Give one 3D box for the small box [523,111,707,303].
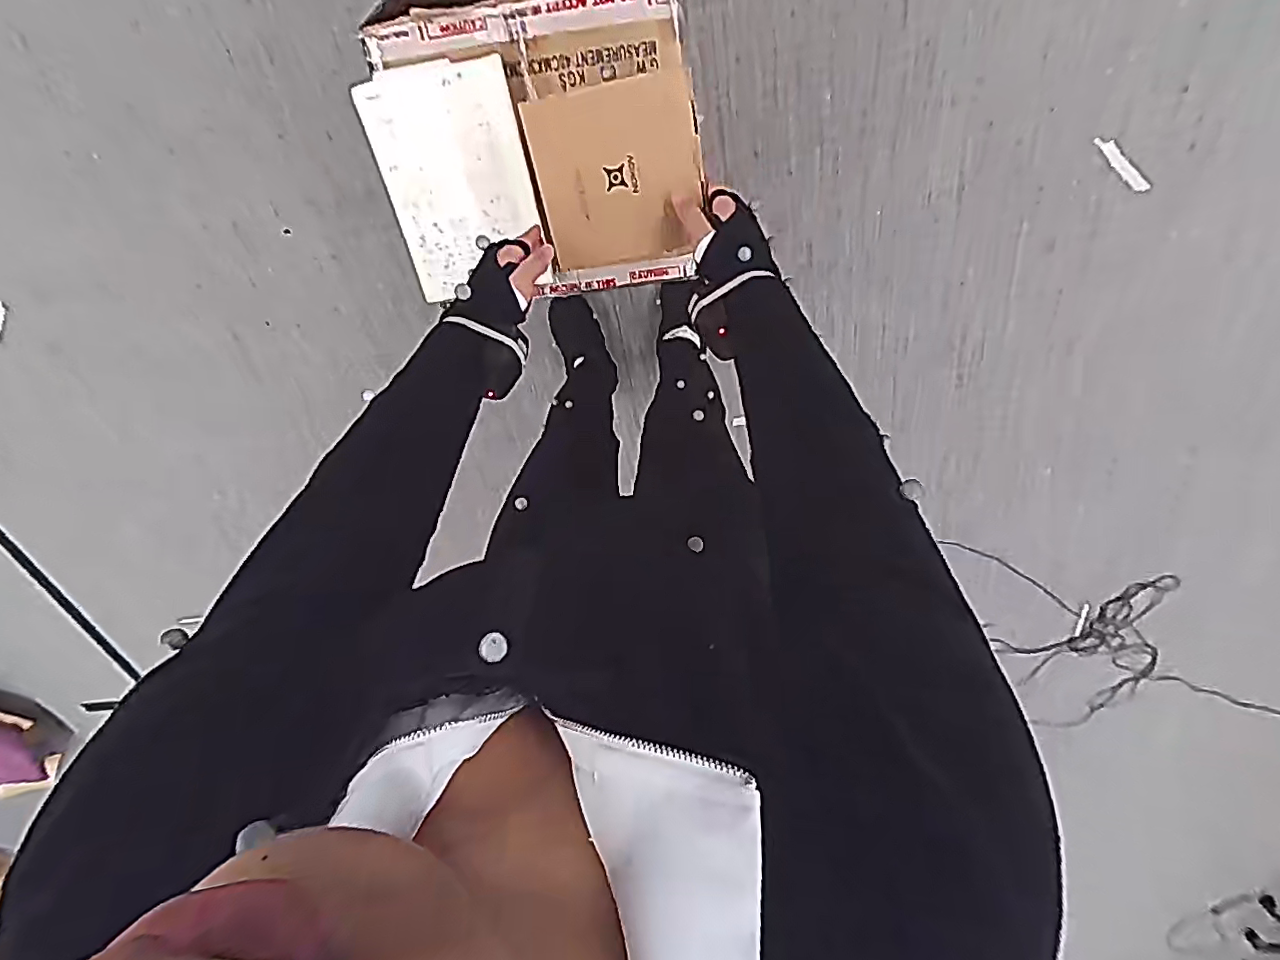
[{"bbox_3d":[-0.023,-0.331,0.653,0.179,0.176,0.168,-9,121,6],"label":"small box"}]
